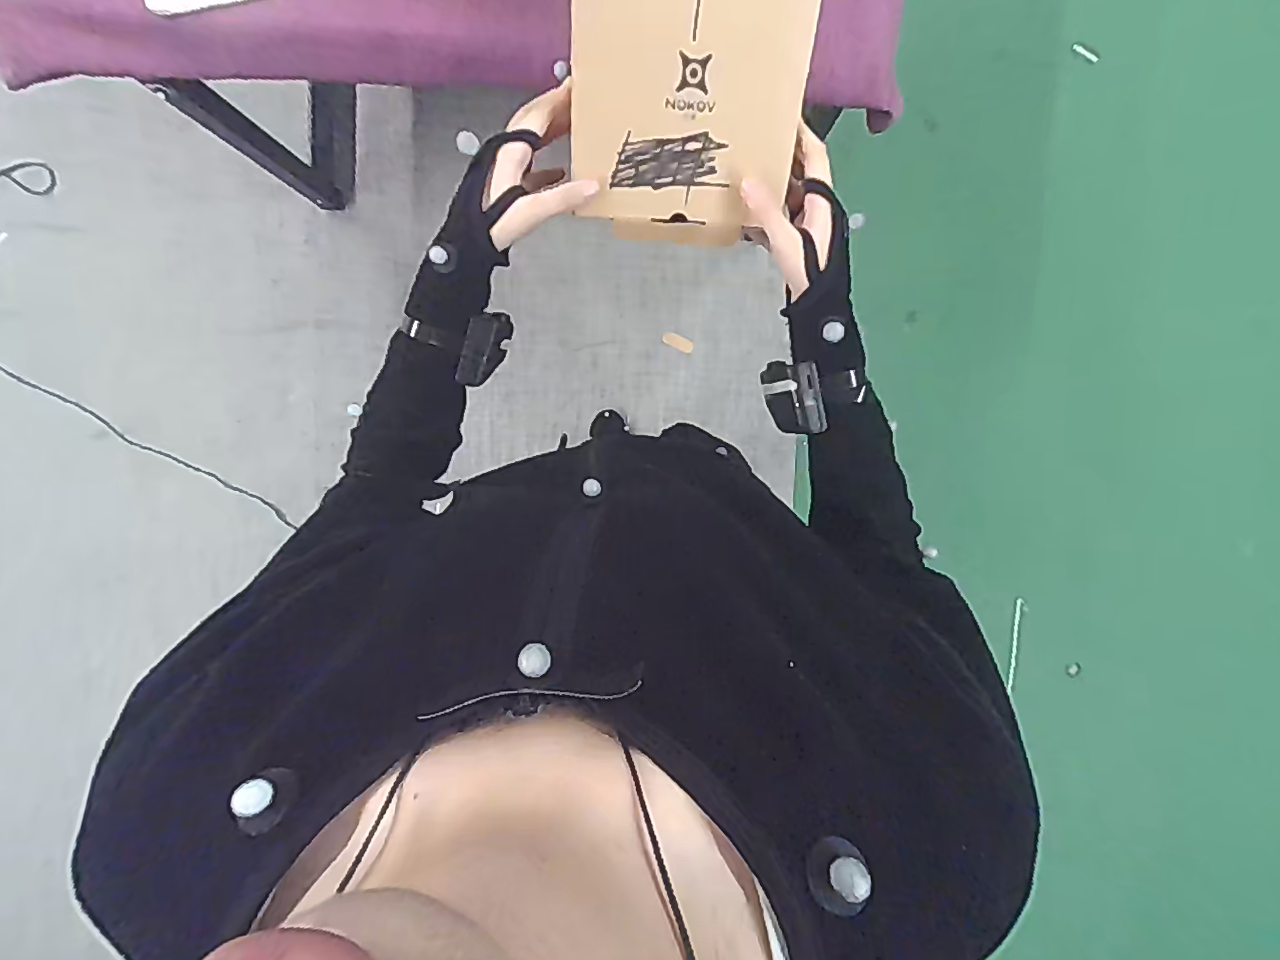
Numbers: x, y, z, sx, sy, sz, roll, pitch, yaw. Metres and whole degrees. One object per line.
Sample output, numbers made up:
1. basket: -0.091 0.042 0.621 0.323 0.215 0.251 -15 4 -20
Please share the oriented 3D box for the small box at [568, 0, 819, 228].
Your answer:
1. small box: 0.027 -0.321 0.446 0.168 0.176 0.179 1 122 -7
